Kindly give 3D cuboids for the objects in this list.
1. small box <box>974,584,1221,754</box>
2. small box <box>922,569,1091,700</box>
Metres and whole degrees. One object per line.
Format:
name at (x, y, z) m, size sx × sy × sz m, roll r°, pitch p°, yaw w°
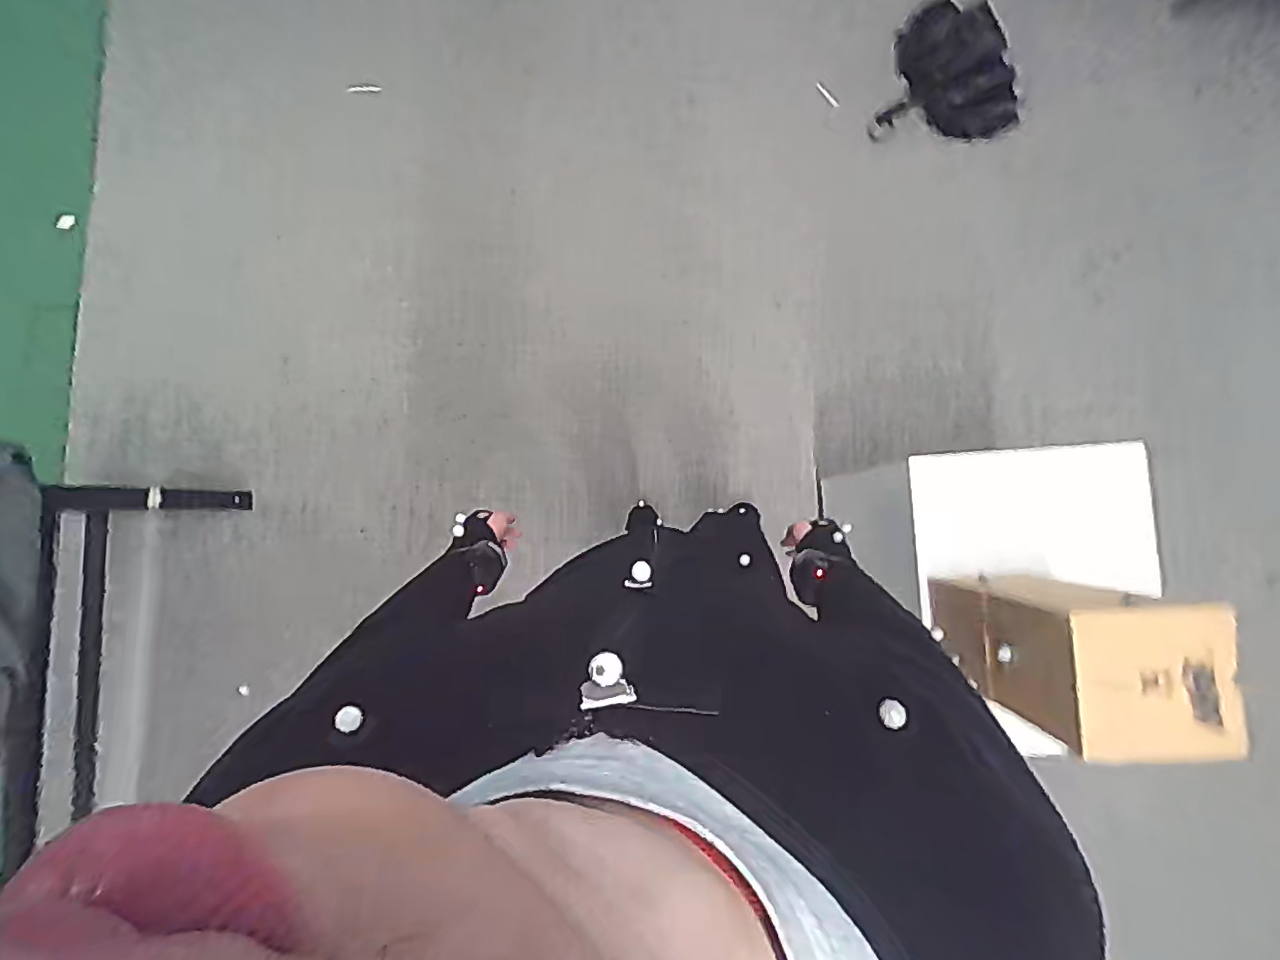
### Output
small box at (0.564, 0.228, 0.689) m, size 0.179 × 0.176 × 0.168 m, roll -2°, pitch 87°, yaw 3°
small box at (0.568, 0.235, 0.853) m, size 0.179 × 0.176 × 0.168 m, roll -3°, pitch 88°, yaw 0°
